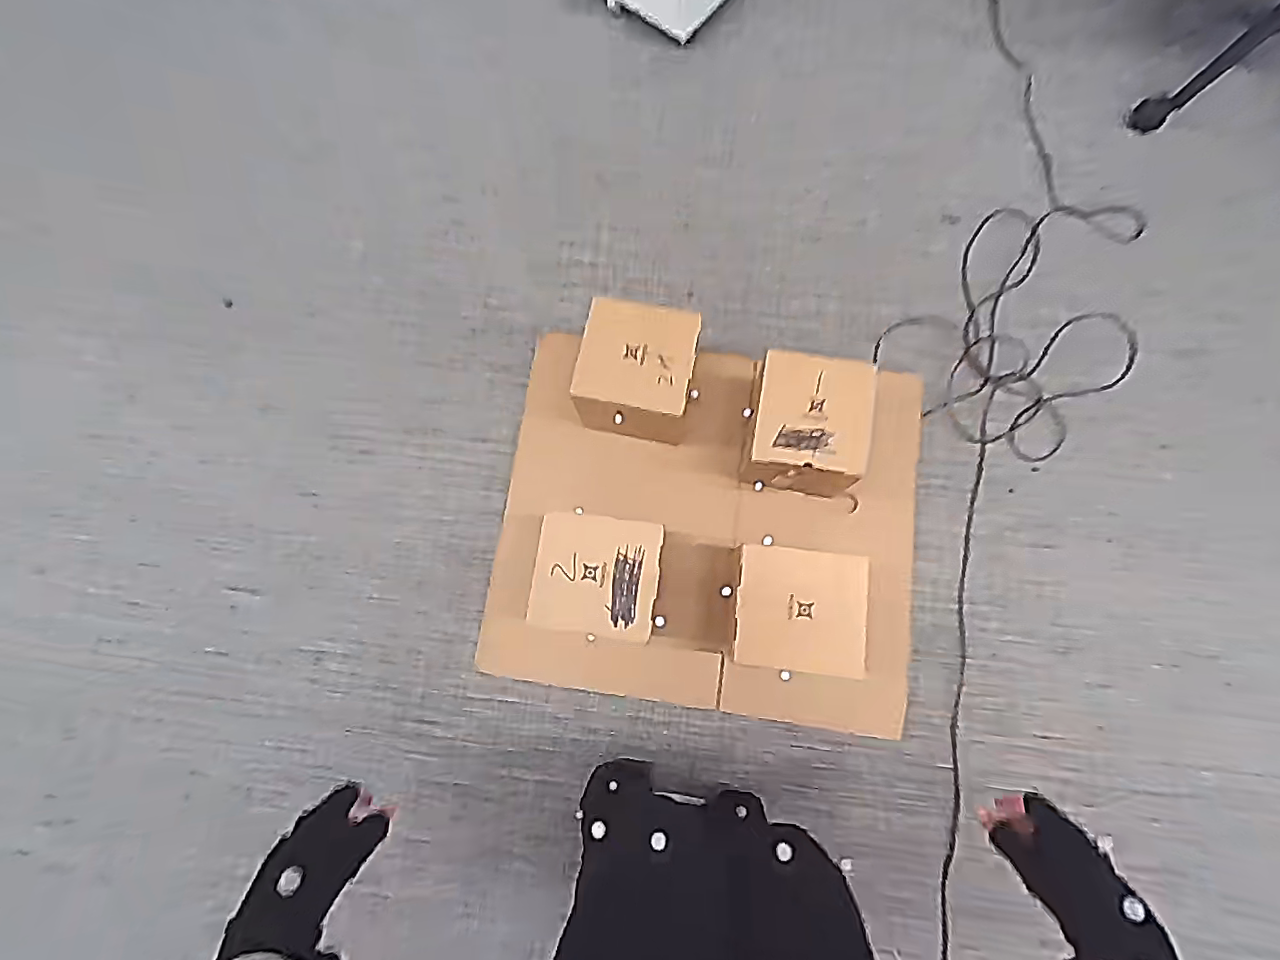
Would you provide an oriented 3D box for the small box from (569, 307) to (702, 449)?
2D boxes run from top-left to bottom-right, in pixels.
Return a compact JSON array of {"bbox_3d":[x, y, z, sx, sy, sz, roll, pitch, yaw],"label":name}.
[{"bbox_3d":[-0.003,-0.160,0.902,0.179,0.176,0.168,12,79,4],"label":"small box"}]

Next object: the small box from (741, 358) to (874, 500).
[{"bbox_3d":[0.260,-0.073,0.876,0.168,0.176,0.179,10,78,7],"label":"small box"}]
